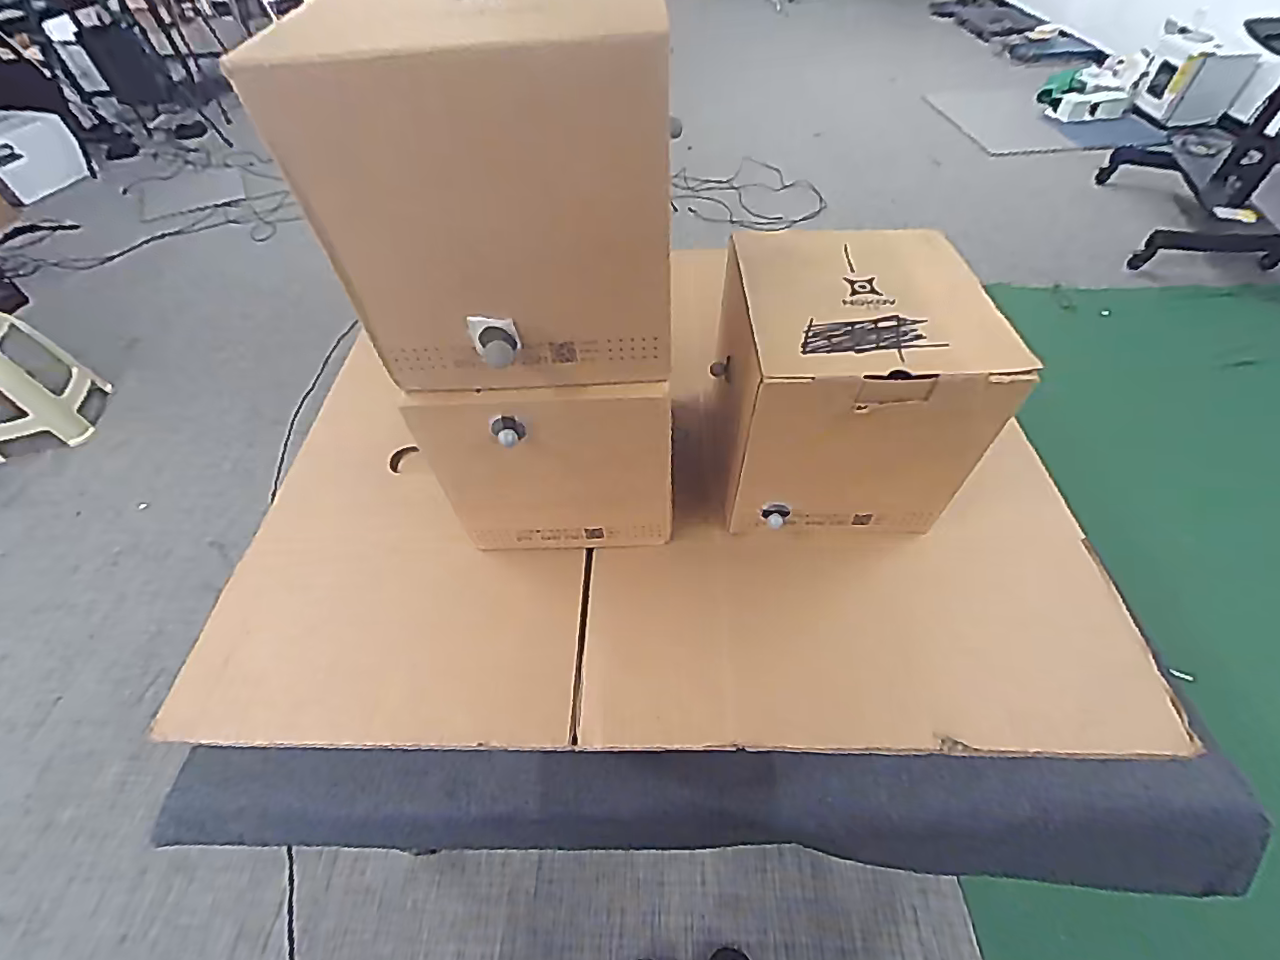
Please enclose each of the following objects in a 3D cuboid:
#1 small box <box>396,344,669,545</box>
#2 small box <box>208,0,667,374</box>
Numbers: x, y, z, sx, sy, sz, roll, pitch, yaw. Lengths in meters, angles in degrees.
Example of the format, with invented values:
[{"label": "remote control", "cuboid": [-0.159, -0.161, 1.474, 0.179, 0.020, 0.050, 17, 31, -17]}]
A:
[{"label": "small box", "cuboid": [-0.062, -0.065, 0.438, 0.168, 0.176, 0.179, -2, 51, 4]}, {"label": "small box", "cuboid": [-0.072, -0.182, 0.303, 0.168, 0.176, 0.179, -4, 53, 1]}]
